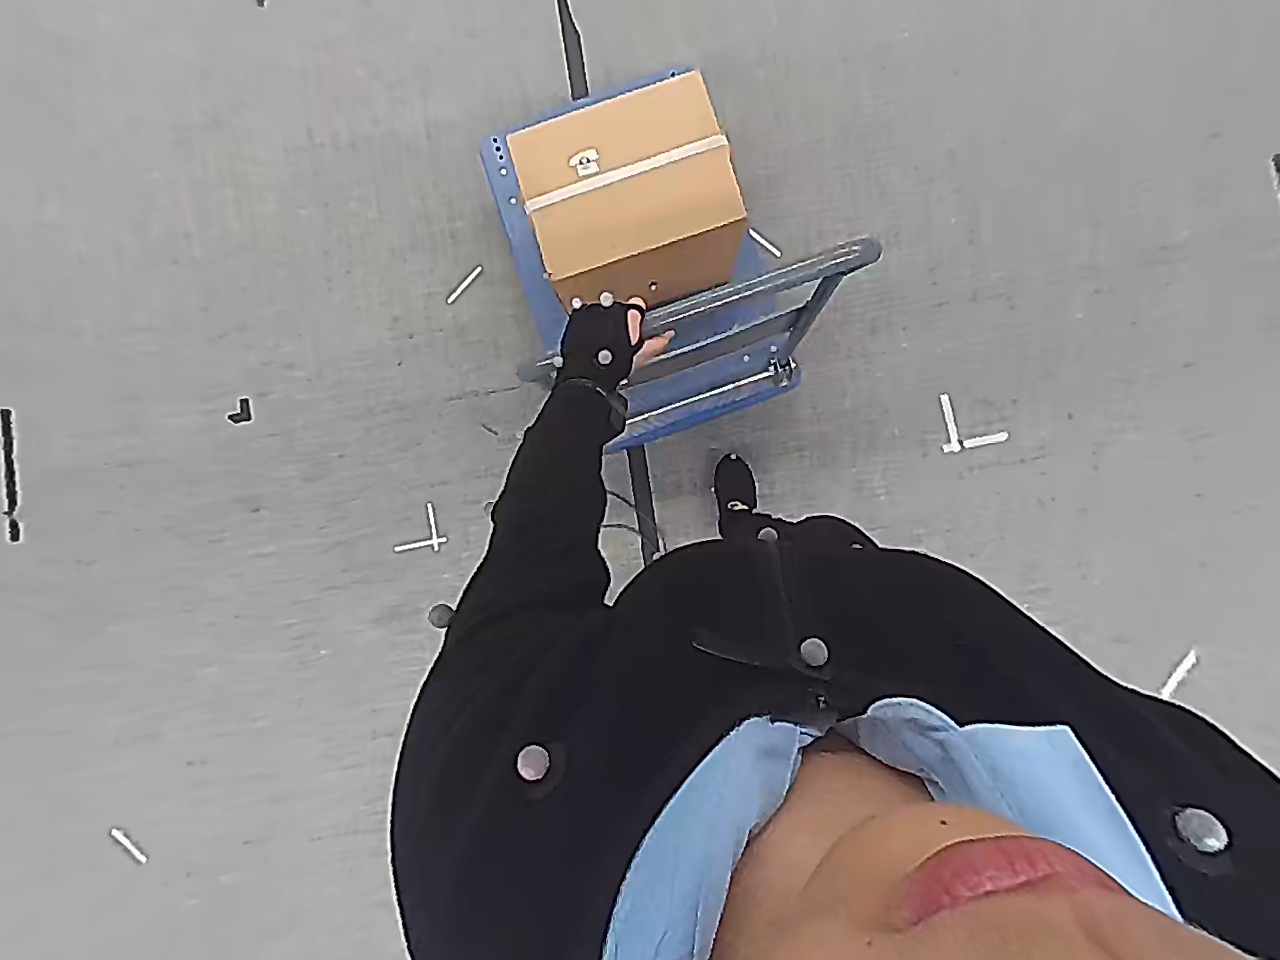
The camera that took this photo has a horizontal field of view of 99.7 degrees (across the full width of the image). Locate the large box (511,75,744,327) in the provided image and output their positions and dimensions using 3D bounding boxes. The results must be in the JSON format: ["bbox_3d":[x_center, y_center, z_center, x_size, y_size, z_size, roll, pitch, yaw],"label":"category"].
[{"bbox_3d":[-0.016,-0.592,1.218,0.408,0.320,0.320,-18,86,4],"label":"large box"}]
